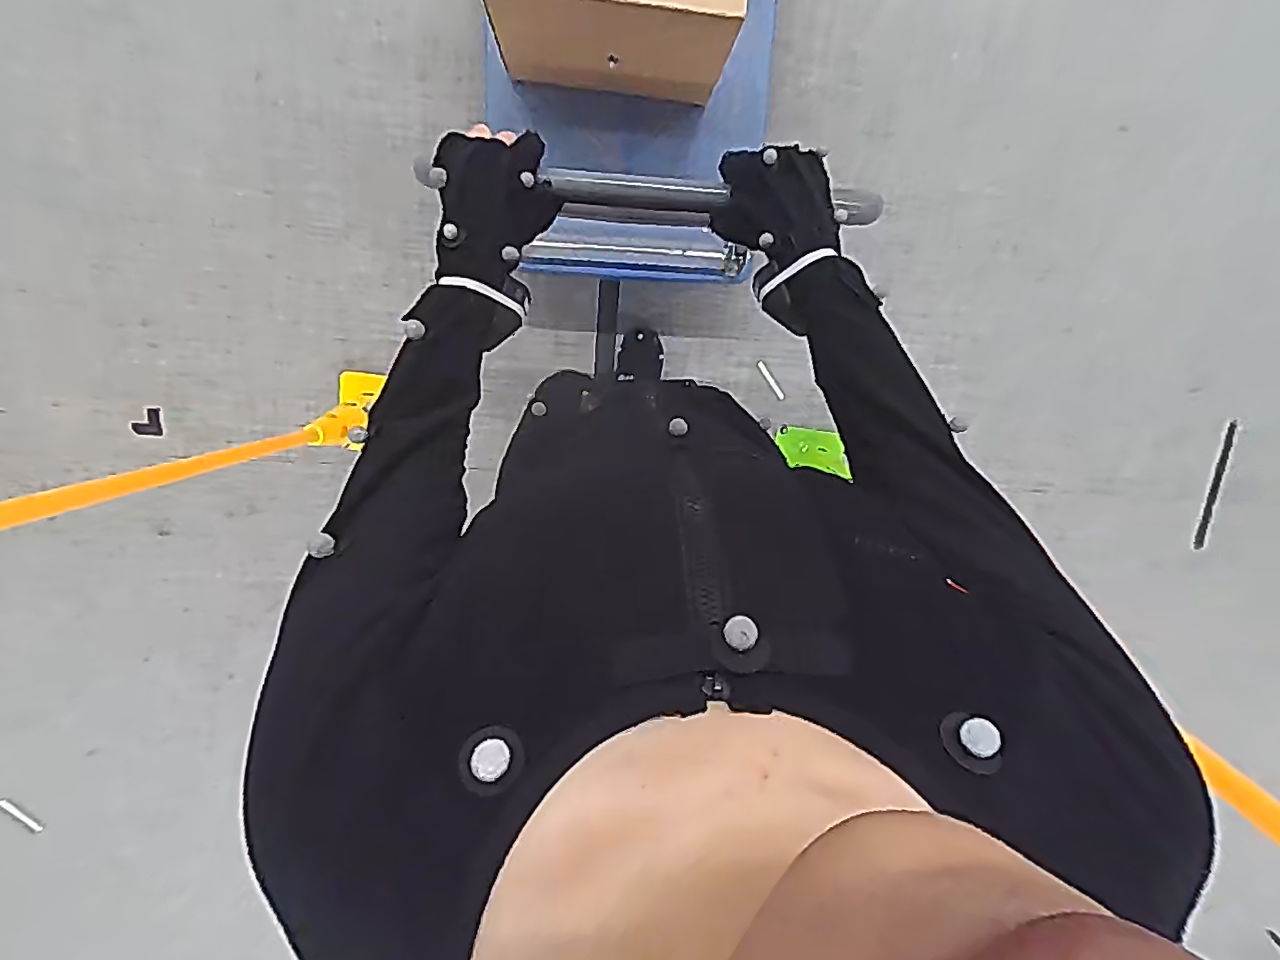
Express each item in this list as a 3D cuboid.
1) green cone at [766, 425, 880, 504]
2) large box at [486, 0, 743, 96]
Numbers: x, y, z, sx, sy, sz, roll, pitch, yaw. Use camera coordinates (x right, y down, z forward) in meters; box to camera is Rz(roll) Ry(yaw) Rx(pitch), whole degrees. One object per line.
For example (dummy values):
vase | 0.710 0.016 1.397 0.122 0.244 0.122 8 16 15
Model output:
green cone | 0.472 -0.004 1.327 0.202 0.368 0.200 7 103 -7
large box | -0.038 -0.906 0.922 0.408 0.320 0.320 4 103 -5
